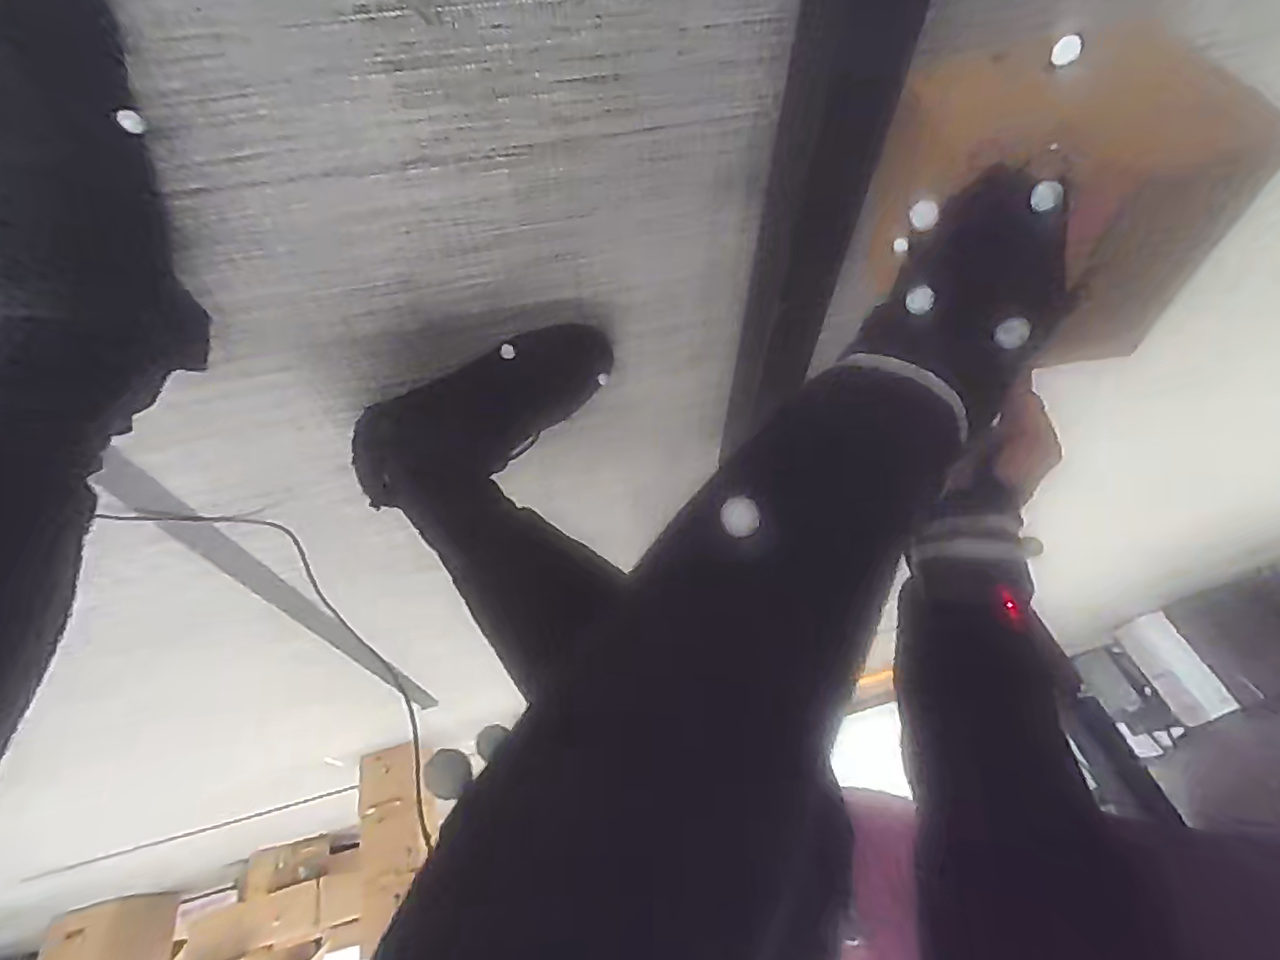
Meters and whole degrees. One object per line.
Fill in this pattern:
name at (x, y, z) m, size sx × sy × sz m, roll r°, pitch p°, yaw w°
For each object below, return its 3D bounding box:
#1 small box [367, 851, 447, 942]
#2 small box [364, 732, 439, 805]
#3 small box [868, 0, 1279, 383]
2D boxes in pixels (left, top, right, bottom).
small box at (-0.664, 1.185, 1.553) m, size 0.168 × 0.176 × 0.179 m, roll -12°, pitch 148°, yaw -7°
small box at (-0.752, 0.916, 1.719) m, size 0.168 × 0.176 × 0.179 m, roll -15°, pitch 147°, yaw -5°
small box at (0.285, -0.203, 0.407) m, size 0.168 × 0.176 × 0.179 m, roll -10°, pitch 149°, yaw 8°
